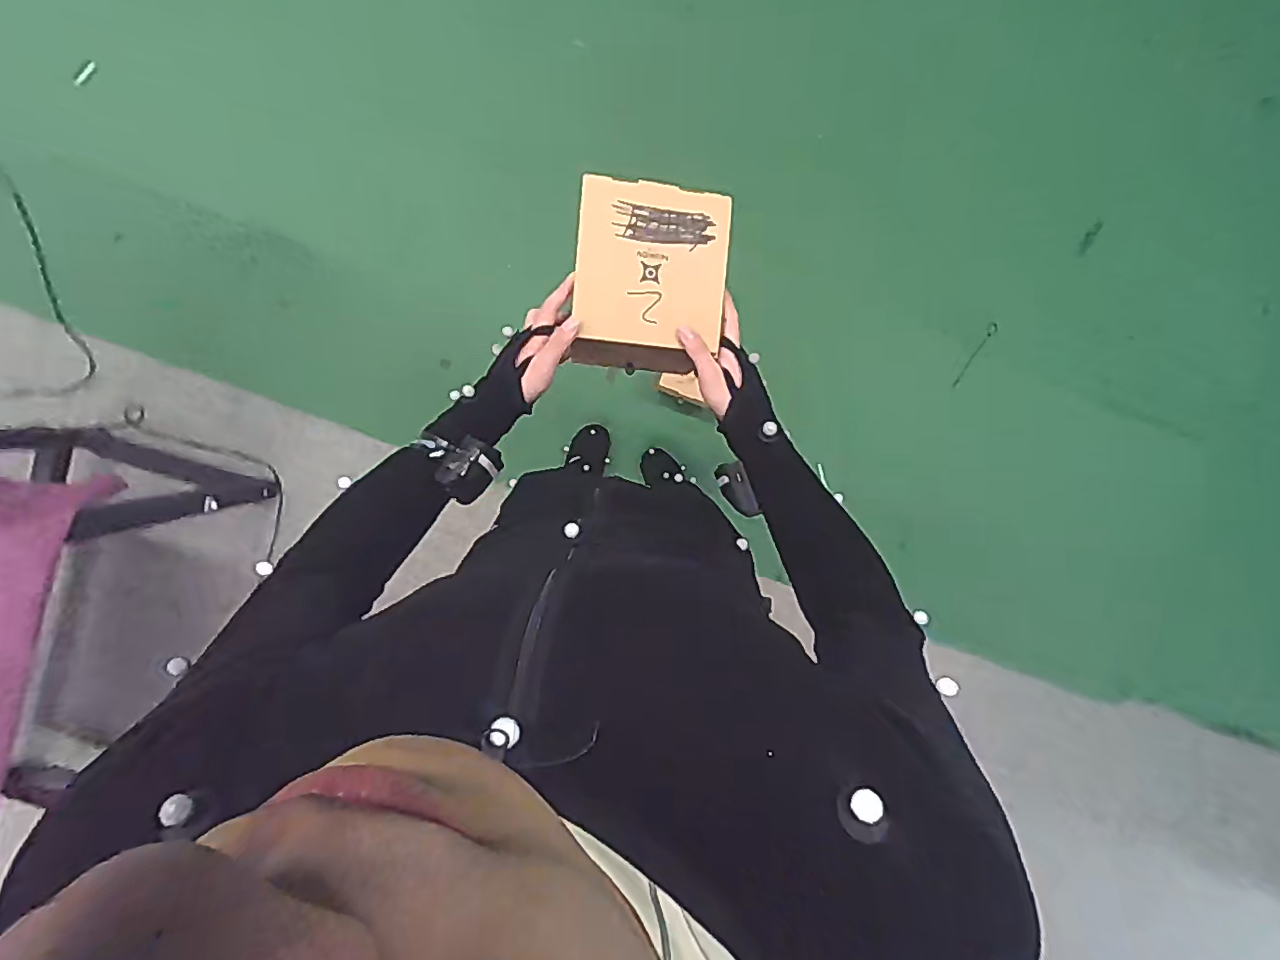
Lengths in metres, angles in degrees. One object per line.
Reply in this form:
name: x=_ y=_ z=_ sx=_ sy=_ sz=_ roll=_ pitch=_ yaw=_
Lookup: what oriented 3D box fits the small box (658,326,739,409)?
small box: x=0.156 y=-0.309 z=1.521 sx=0.168 sy=0.176 sz=0.179 roll=22 pitch=96 yaw=-3
